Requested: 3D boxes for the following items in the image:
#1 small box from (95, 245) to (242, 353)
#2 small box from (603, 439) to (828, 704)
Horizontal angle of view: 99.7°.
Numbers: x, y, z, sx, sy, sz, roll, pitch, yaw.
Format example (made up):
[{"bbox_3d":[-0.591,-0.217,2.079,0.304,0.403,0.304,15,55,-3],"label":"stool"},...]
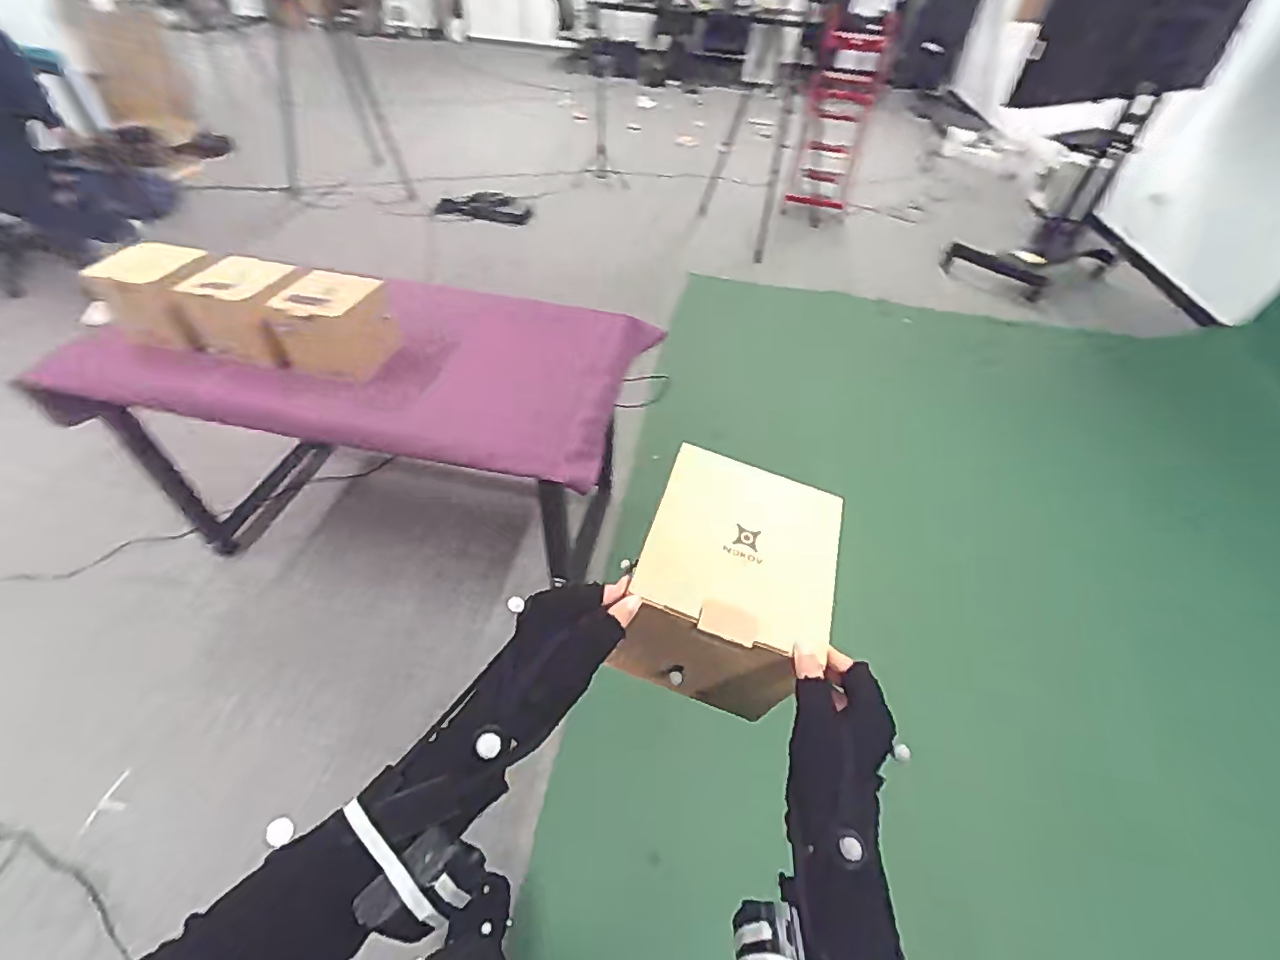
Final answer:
[{"bbox_3d":[-1.087,-0.426,1.272,0.168,0.176,0.179,11,46,6],"label":"small box"},{"bbox_3d":[0.070,0.096,0.543,0.168,0.176,0.179,19,53,3],"label":"small box"}]
